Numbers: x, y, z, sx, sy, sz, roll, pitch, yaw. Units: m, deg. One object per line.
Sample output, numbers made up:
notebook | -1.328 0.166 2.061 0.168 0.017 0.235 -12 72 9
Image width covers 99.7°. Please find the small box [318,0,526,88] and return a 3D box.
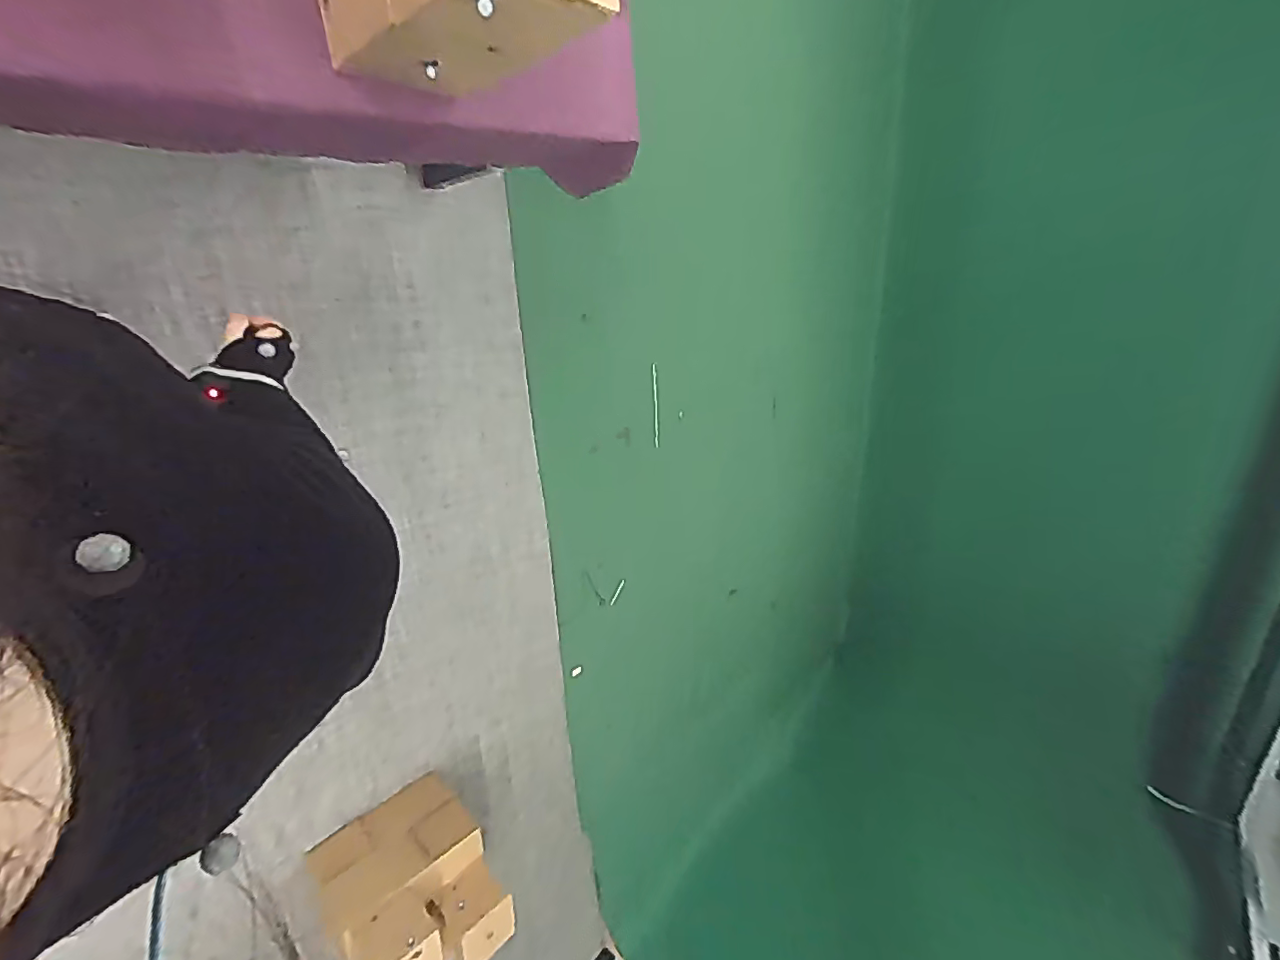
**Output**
small box | -0.261 -0.588 0.635 0.179 0.176 0.168 -23 118 -42

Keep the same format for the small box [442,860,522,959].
small box | -0.473 1.290 1.616 0.168 0.176 0.179 -20 118 -44

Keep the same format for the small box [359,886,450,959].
small box | -0.620 1.238 1.426 0.168 0.176 0.179 -16 115 -45
